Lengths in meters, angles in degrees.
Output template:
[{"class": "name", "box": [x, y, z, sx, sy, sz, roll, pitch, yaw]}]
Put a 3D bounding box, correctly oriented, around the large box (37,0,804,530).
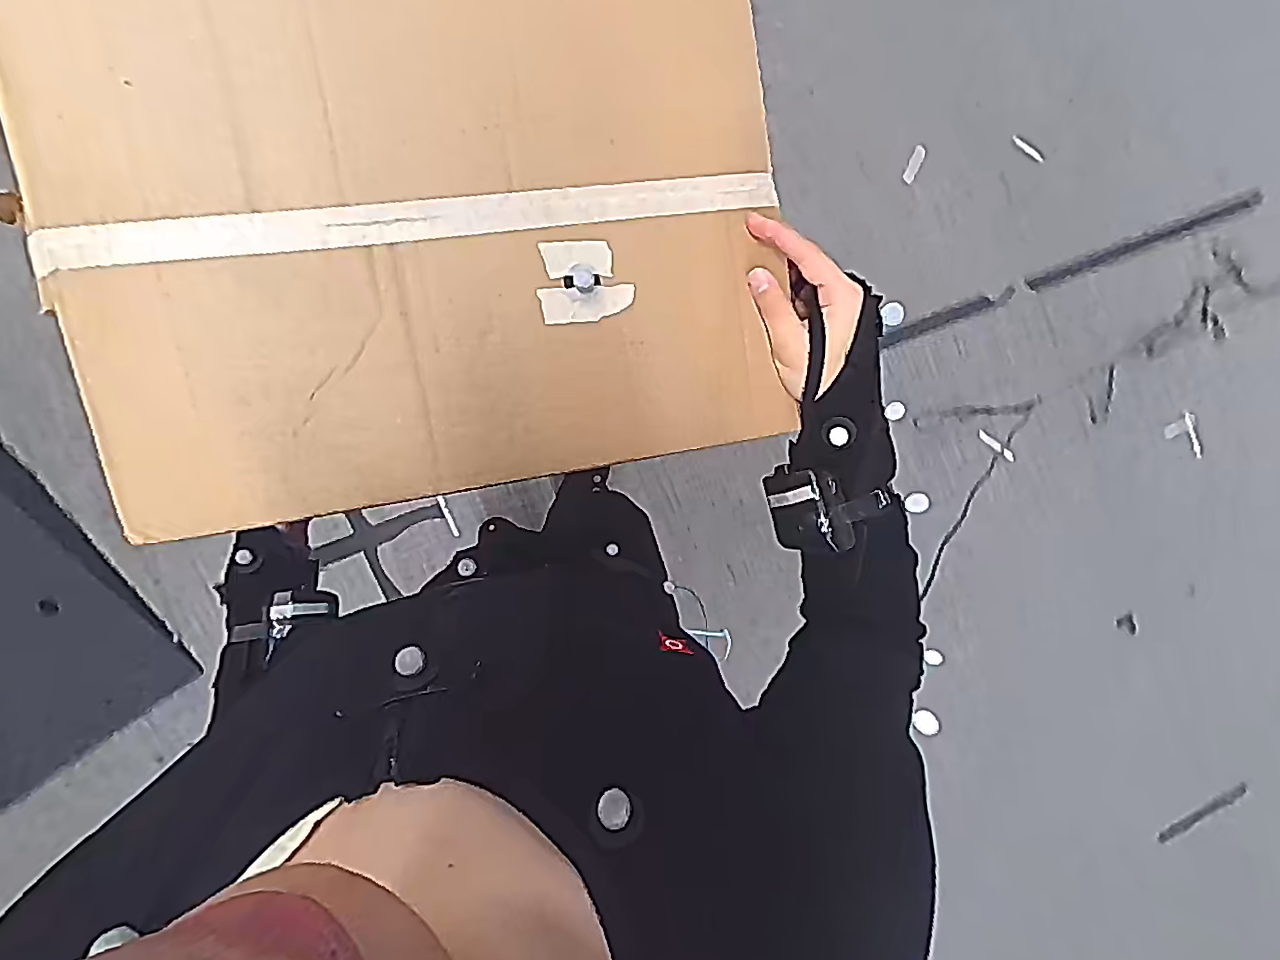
[{"class": "large box", "box": [-0.130, -0.167, 0.472, 0.408, 0.320, 0.320, -10, 98, -12]}]
